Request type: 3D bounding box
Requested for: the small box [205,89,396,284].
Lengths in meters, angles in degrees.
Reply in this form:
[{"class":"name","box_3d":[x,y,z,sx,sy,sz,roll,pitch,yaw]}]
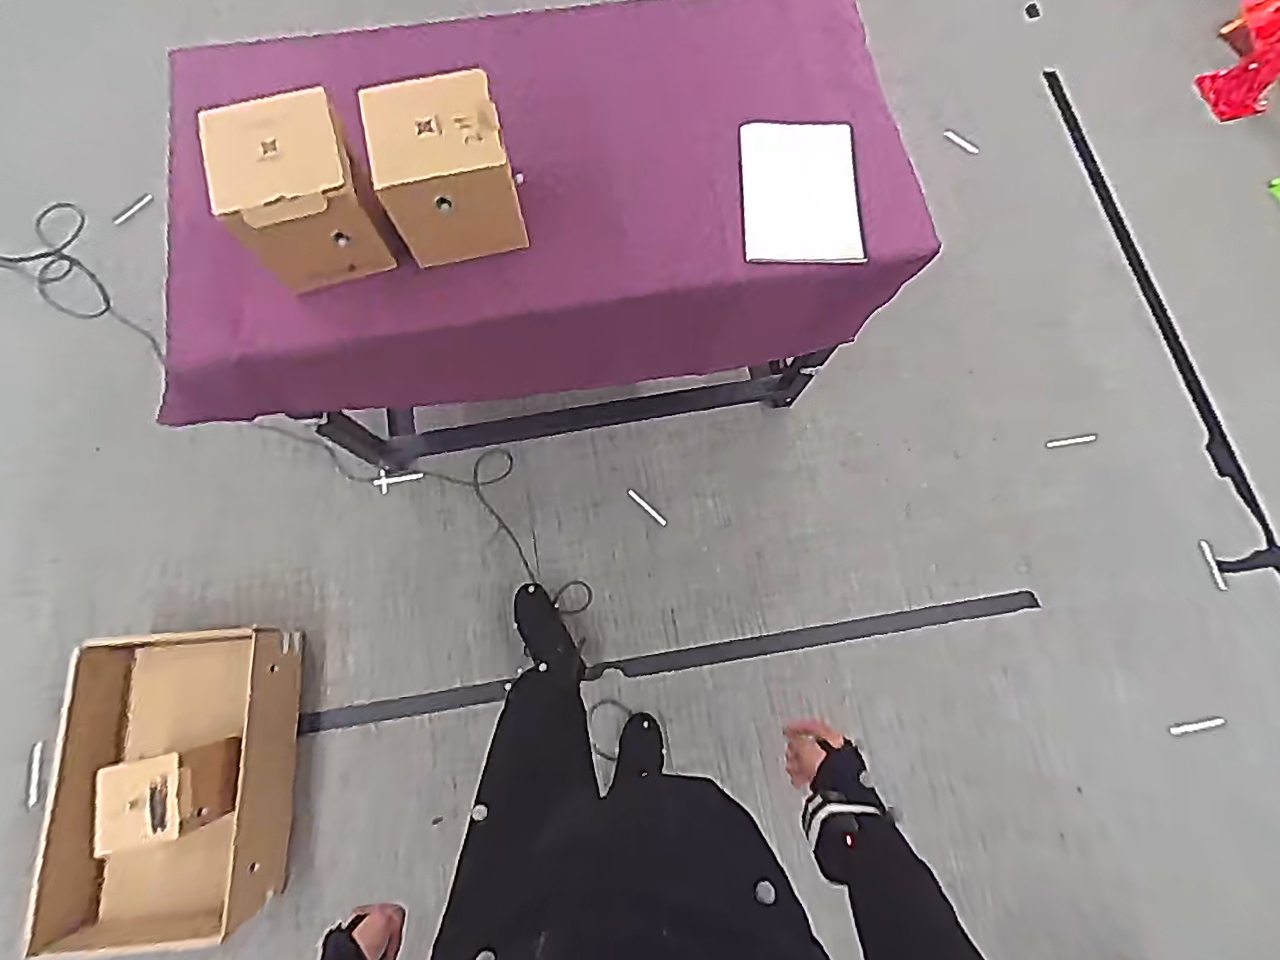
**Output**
[{"class":"small box","box_3d":[-0.478,-0.410,0.785,0.168,0.176,0.179,-17,77,-6]}]
